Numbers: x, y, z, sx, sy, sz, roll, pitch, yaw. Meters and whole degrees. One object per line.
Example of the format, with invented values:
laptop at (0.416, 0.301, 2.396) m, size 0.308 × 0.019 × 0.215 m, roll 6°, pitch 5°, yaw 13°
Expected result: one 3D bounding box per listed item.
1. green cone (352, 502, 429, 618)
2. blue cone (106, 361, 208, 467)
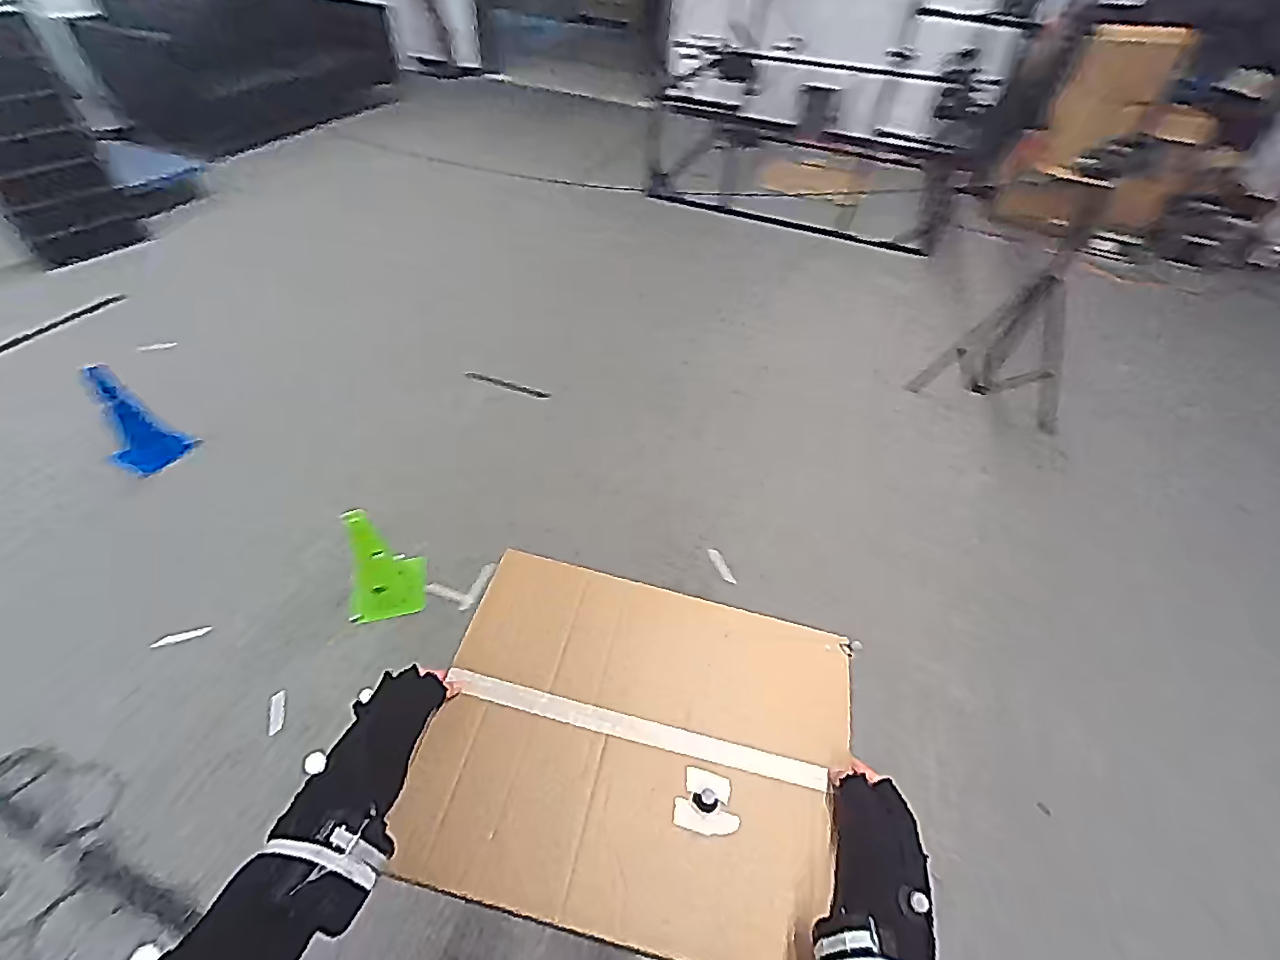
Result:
green cone at (-0.741, 0.201, 1.538) m, size 0.200 × 0.368 × 0.202 m, roll -9°, pitch 47°, yaw -15°
blue cone at (-1.727, -0.240, 1.876) m, size 0.193 × 0.380 × 0.192 m, roll 21°, pitch 47°, yaw 14°
